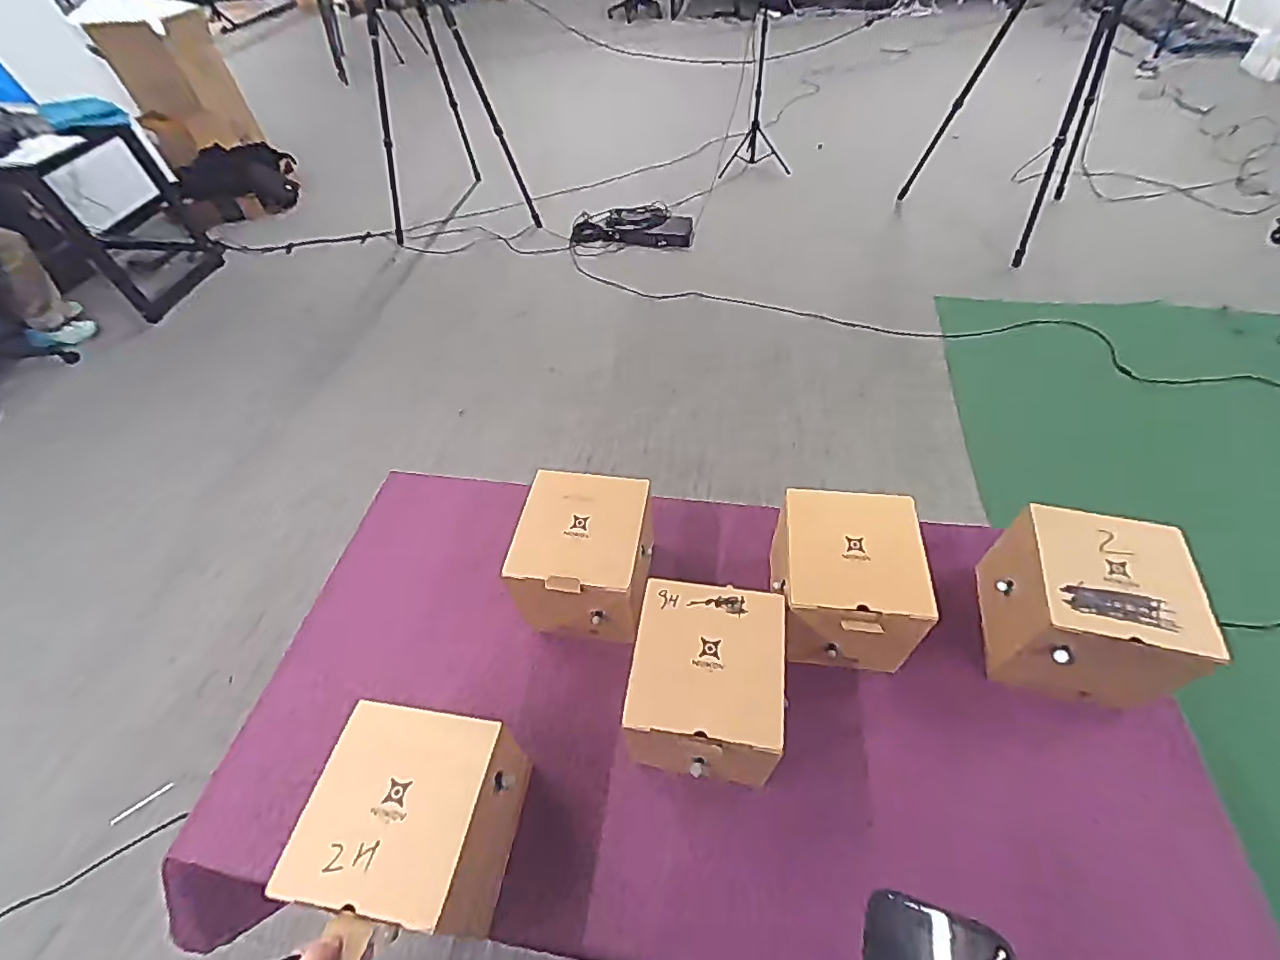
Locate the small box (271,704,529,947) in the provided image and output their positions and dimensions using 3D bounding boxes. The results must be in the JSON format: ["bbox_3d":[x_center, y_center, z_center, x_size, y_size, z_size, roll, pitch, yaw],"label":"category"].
[{"bbox_3d":[-0.230,0.368,0.578,0.168,0.176,0.179,5,49,9],"label":"small box"}]

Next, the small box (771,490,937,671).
[{"bbox_3d":[0.271,0.136,0.732,0.168,0.176,0.179,3,52,8],"label":"small box"}]

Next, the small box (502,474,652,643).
[{"bbox_3d":[-0.075,0.116,0.778,0.168,0.176,0.179,6,52,8],"label":"small box"}]
